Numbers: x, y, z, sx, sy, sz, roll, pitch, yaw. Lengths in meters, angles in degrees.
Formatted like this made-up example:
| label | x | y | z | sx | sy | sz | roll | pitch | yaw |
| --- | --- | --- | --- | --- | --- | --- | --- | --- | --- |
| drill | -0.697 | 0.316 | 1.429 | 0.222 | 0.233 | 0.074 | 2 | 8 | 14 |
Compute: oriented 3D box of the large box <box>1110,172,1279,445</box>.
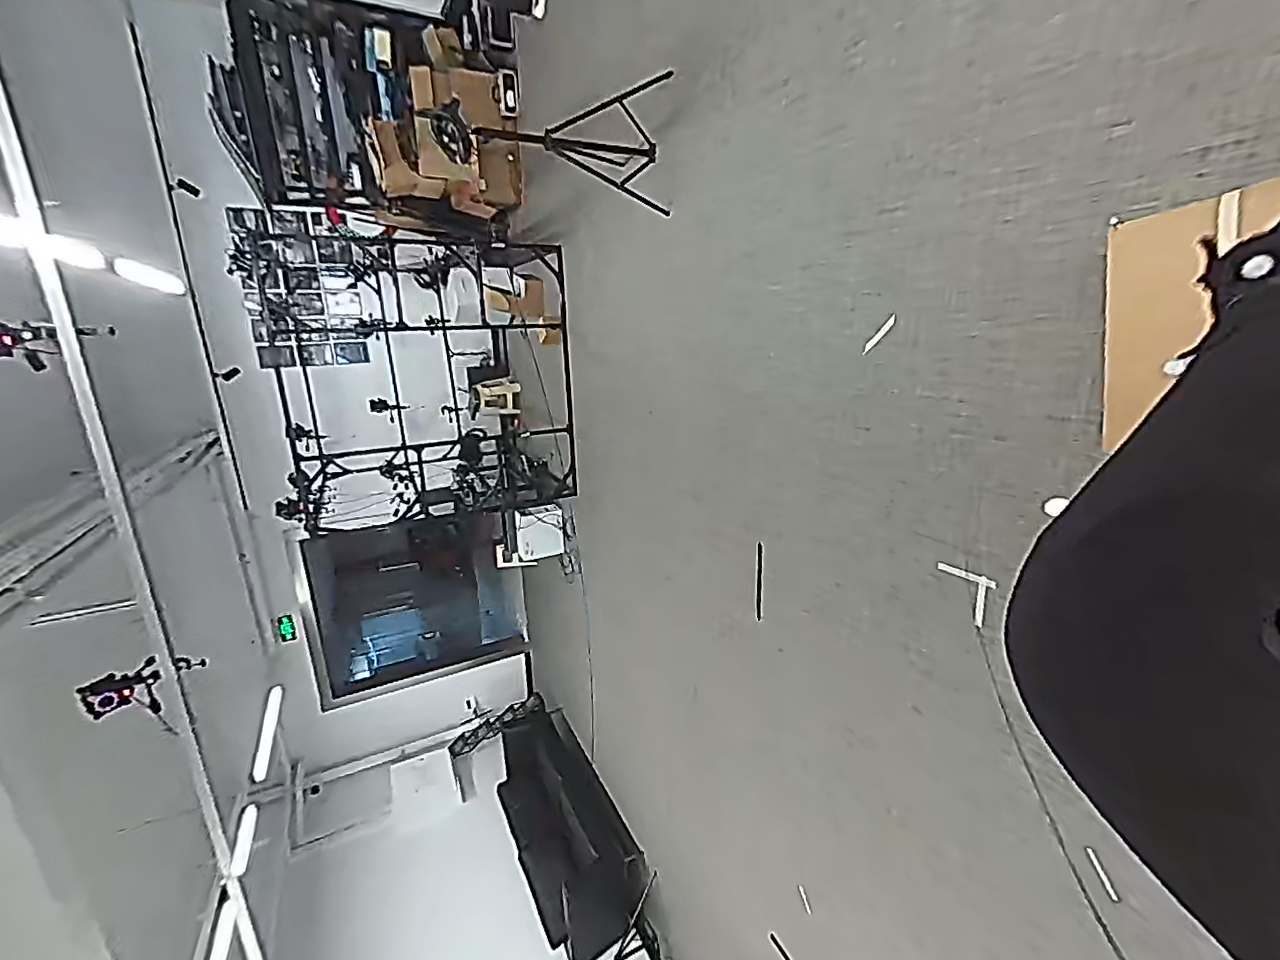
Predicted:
| label | x | y | z | sx | sy | sz | roll | pitch | yaw |
| --- | --- | --- | --- | --- | --- | --- | --- | --- | --- |
| large box | 1.054 | -0.270 | 0.903 | 0.320 | 0.320 | 0.408 | 9 | 106 | 63 |
